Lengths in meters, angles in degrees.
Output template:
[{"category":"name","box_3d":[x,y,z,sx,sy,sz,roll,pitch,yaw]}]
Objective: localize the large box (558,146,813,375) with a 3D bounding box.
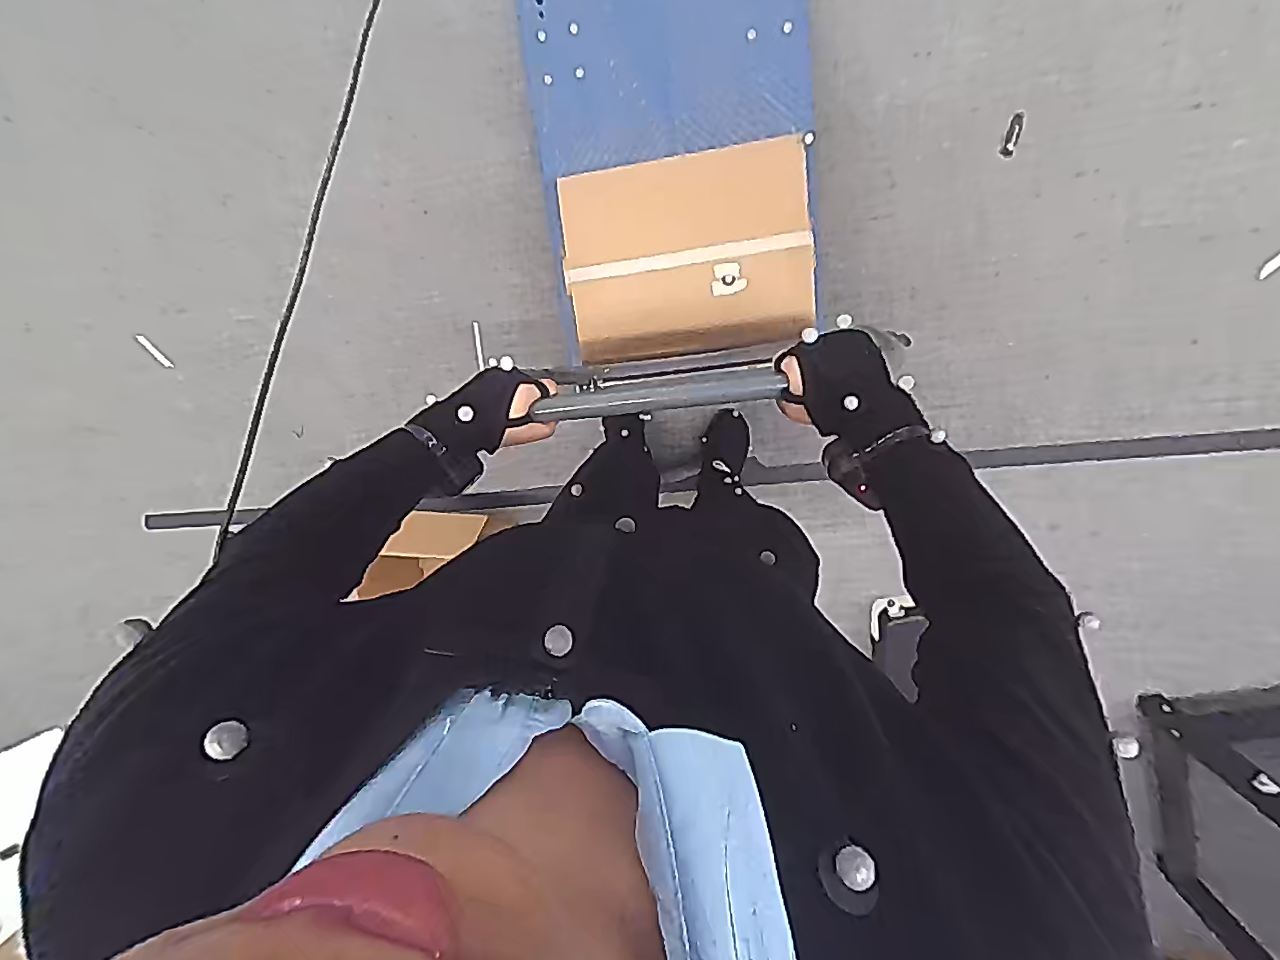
[{"category":"large box","box_3d":[0.091,-0.384,1.047,0.408,0.320,0.320,-5,101,8]}]
